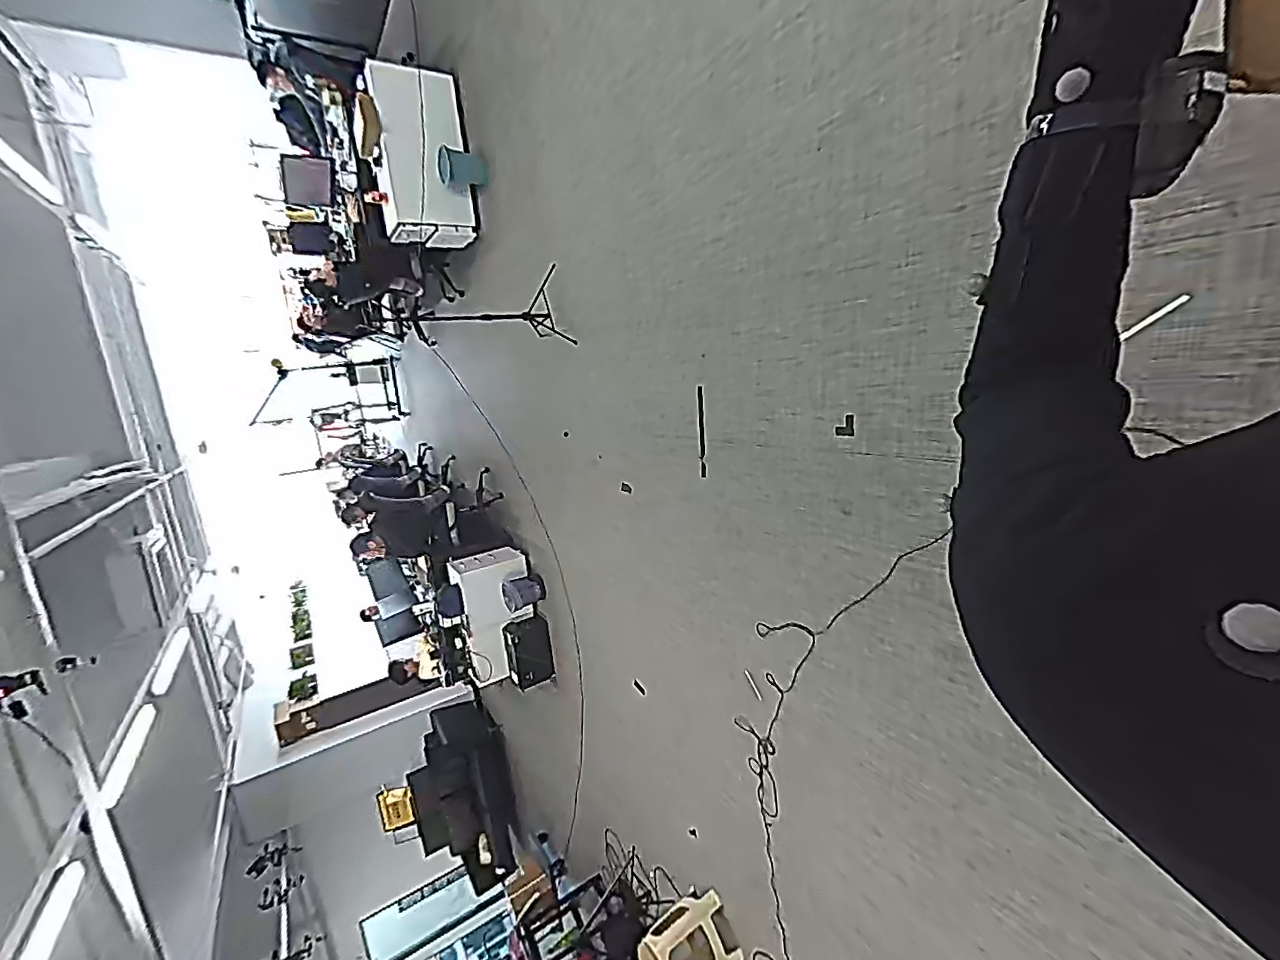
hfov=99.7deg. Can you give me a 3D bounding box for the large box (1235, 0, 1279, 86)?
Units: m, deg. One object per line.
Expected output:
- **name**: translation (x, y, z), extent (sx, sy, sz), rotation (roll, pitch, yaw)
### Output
- **large box**: translation (0.532, -0.406, 0.188), extent (0.408, 0.320, 0.320), rotation (8, 119, 55)
